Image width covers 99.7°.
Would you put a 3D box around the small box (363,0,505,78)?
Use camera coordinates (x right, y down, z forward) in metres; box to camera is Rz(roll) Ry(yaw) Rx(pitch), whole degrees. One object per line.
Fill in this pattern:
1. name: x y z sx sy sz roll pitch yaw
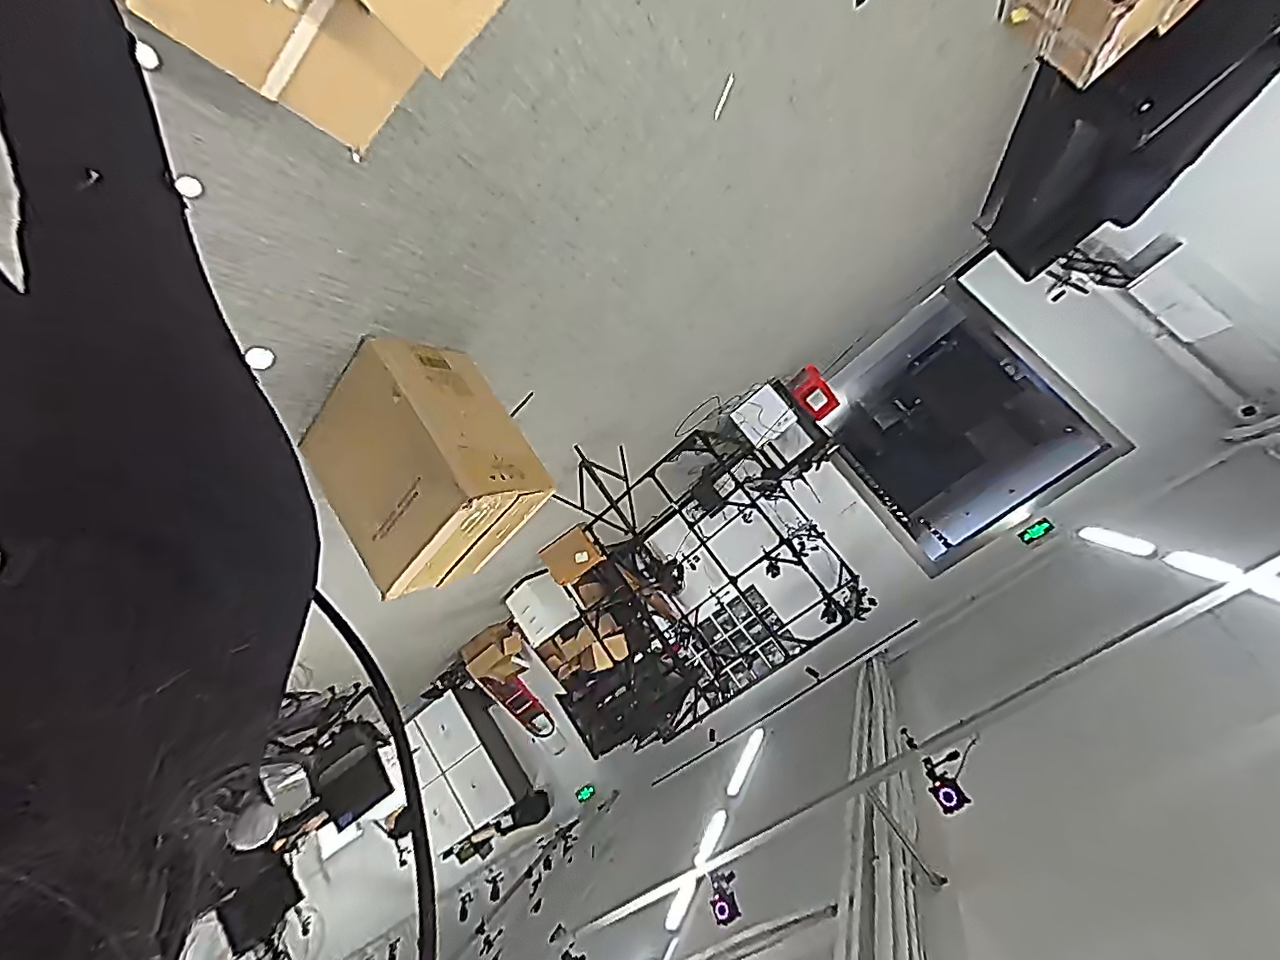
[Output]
1. small box: -0.273 -0.631 0.613 0.168 0.176 0.179 -38 166 15

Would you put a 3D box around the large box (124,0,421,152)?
1. large box: -0.462 -0.773 0.717 0.408 0.320 0.320 -40 165 18
